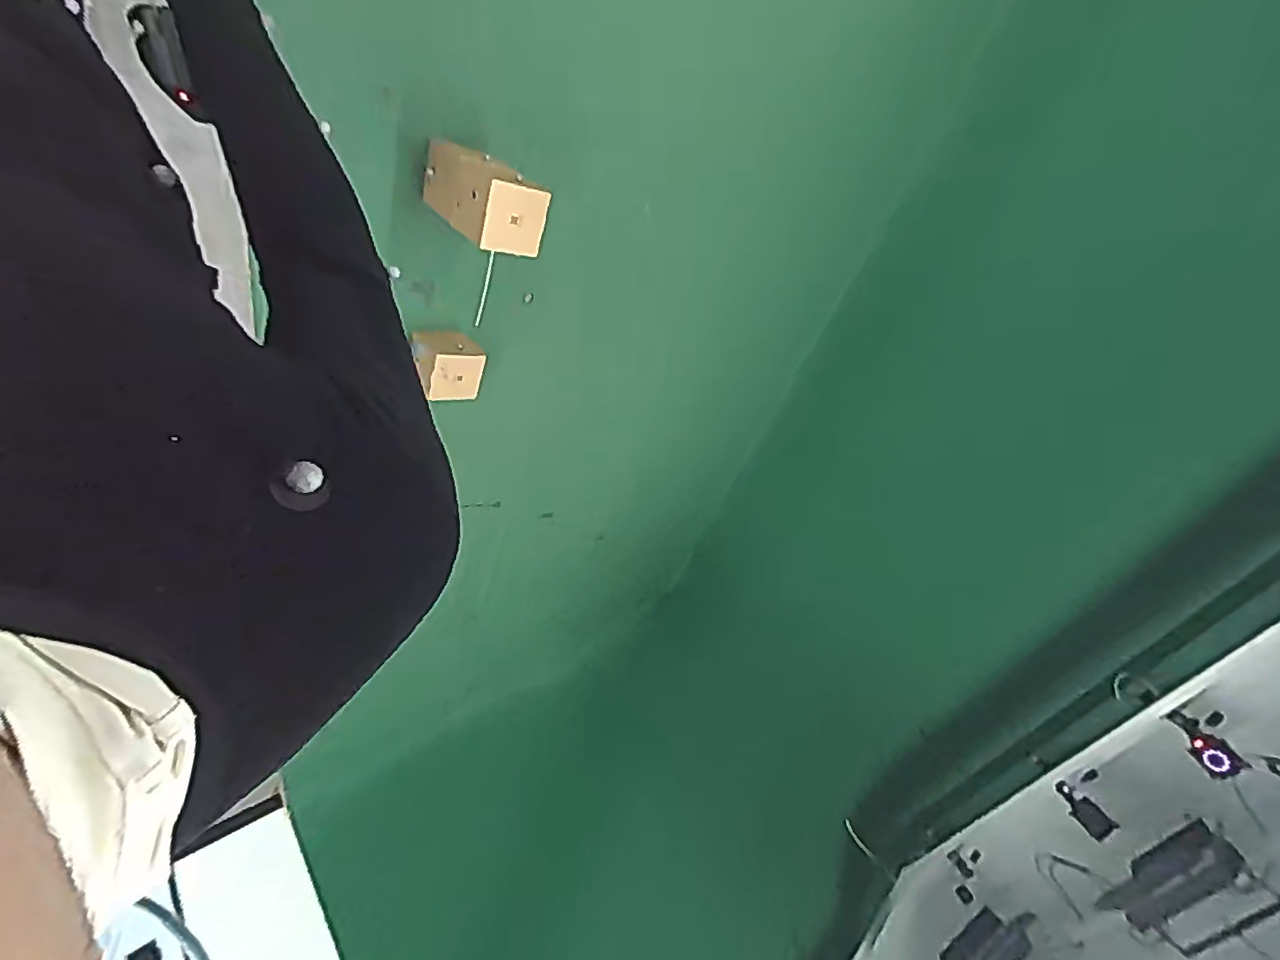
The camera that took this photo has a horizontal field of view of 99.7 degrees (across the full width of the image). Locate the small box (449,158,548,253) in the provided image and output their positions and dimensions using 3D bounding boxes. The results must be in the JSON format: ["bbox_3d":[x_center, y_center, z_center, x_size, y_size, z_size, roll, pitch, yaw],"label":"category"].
[{"bbox_3d":[-0.372,-0.712,1.402,0.179,0.176,0.168,-15,138,-45],"label":"small box"}]

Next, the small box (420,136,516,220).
[{"bbox_3d":[-0.473,-0.812,1.478,0.179,0.176,0.168,-13,137,-44],"label":"small box"}]

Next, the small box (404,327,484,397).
[{"bbox_3d":[-0.648,-0.391,1.783,0.179,0.176,0.168,-11,136,-46],"label":"small box"}]
